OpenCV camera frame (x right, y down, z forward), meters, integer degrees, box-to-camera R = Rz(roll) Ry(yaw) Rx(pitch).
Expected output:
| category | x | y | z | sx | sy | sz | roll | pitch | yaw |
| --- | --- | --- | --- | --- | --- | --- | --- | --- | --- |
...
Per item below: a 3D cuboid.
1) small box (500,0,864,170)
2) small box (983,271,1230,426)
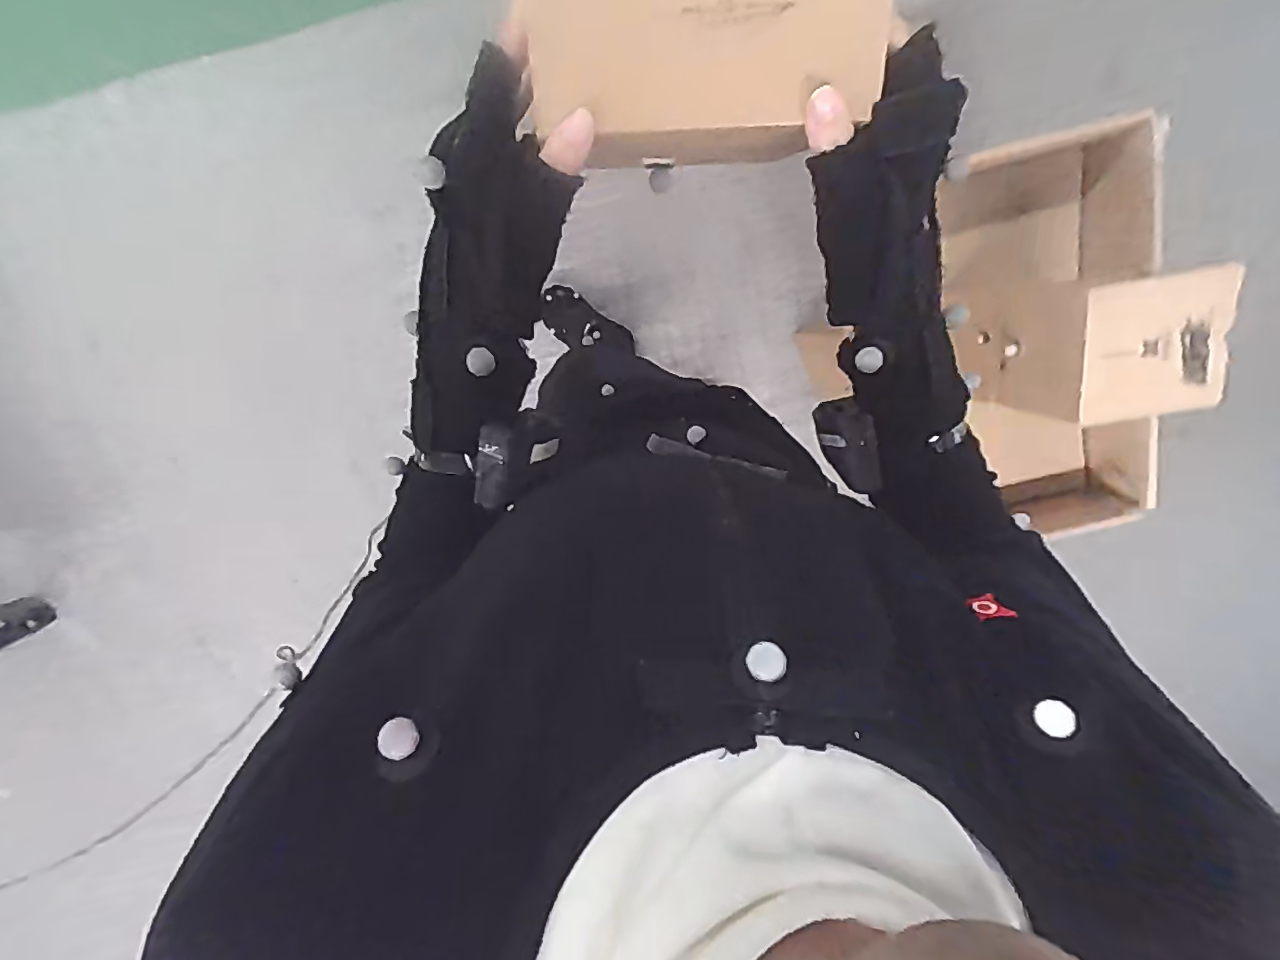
| category | x | y | z | sx | sy | sz | roll | pitch | yaw |
| --- | --- | --- | --- | --- | --- | --- | --- | --- | --- |
| small box | 0.012 | -0.283 | 0.297 | 0.168 | 0.176 | 0.179 | -4 | 114 | -2 |
| small box | 0.600 | -0.179 | 0.721 | 0.179 | 0.176 | 0.168 | -8 | 107 | 2 |
